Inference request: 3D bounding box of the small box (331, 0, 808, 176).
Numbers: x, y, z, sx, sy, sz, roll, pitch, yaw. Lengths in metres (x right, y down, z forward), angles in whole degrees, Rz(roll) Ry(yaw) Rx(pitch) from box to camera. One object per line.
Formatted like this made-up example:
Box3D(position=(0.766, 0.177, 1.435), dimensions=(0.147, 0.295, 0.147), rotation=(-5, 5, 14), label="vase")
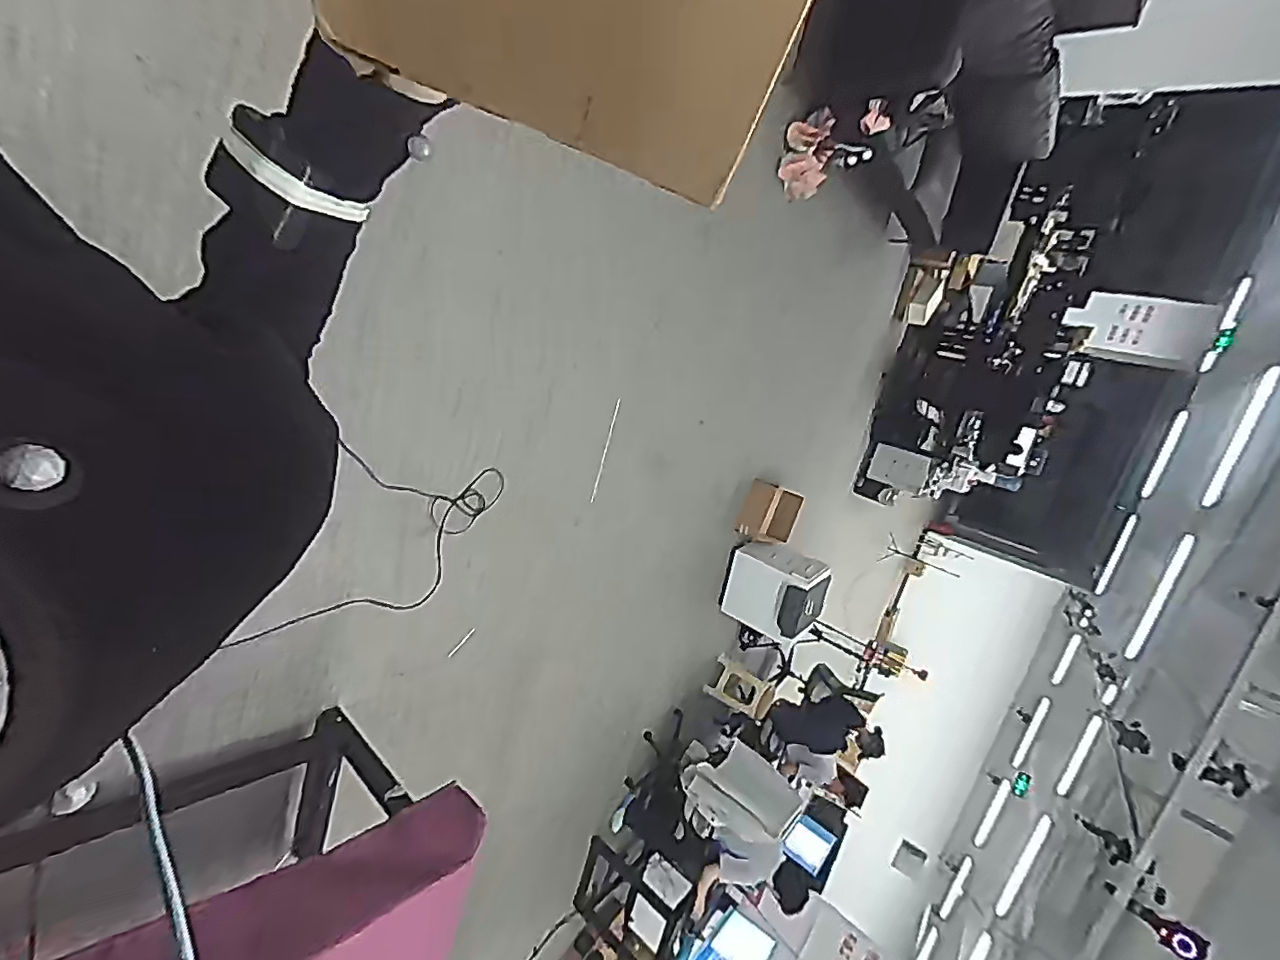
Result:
Box3D(position=(-0.002, -0.258, 0.209), dimensions=(0.179, 0.168, 0.176), rotation=(-79, -168, -44), label="small box")
